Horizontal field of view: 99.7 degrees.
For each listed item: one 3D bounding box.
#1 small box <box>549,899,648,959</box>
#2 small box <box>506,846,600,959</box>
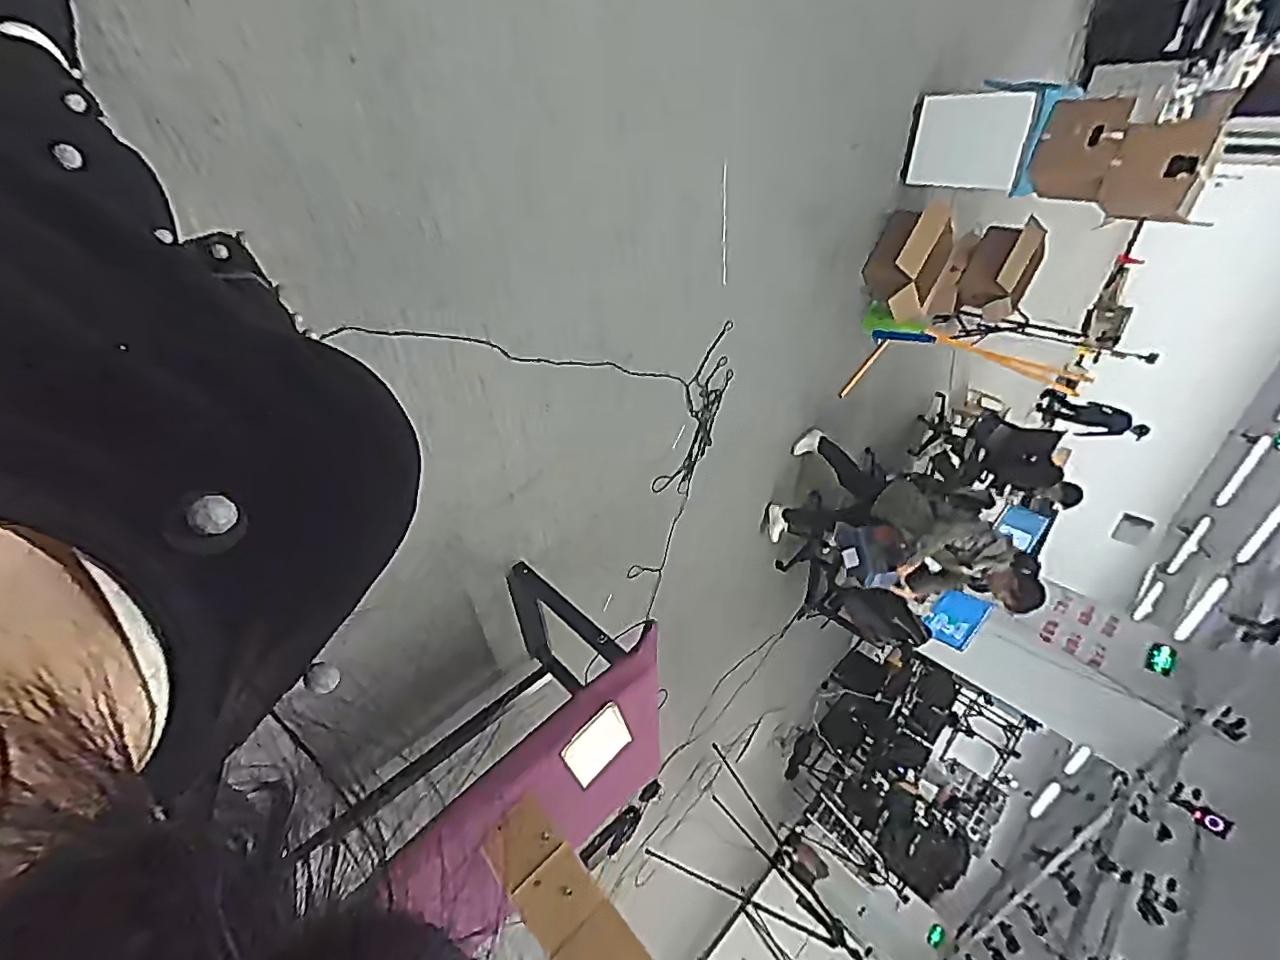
[{"bbox_3d":[-0.100,1.109,1.214,0.179,0.176,0.168,-29,135,-35],"label":"small box"},{"bbox_3d":[-0.209,1.044,1.320,0.168,0.176,0.179,-31,135,-34],"label":"small box"}]
